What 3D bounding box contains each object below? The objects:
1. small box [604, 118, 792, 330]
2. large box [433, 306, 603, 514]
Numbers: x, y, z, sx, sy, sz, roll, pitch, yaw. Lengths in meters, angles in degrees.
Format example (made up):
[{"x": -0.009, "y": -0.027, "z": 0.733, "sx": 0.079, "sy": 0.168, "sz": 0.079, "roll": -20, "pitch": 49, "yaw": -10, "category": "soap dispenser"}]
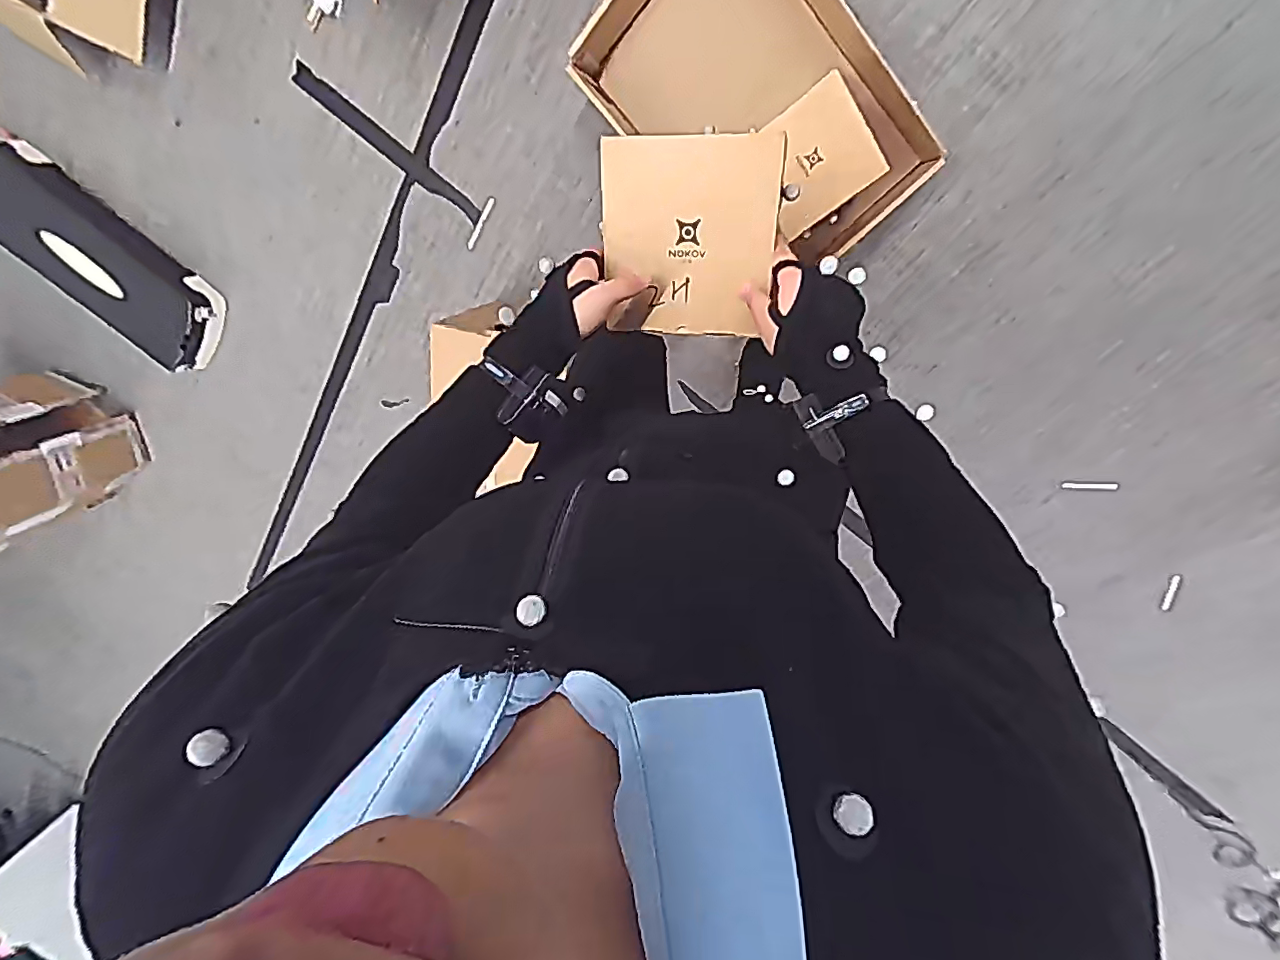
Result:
[{"x": 0.063, "y": -0.269, "z": 0.572, "sx": 0.168, "sy": 0.176, "sz": 0.179, "roll": 7, "pitch": 120, "yaw": 12, "category": "small box"}, {"x": -0.291, "y": -0.188, "z": 1.355, "sx": 0.320, "sy": 0.320, "sz": 0.408, "roll": 13, "pitch": 119, "yaw": 7, "category": "large box"}]
